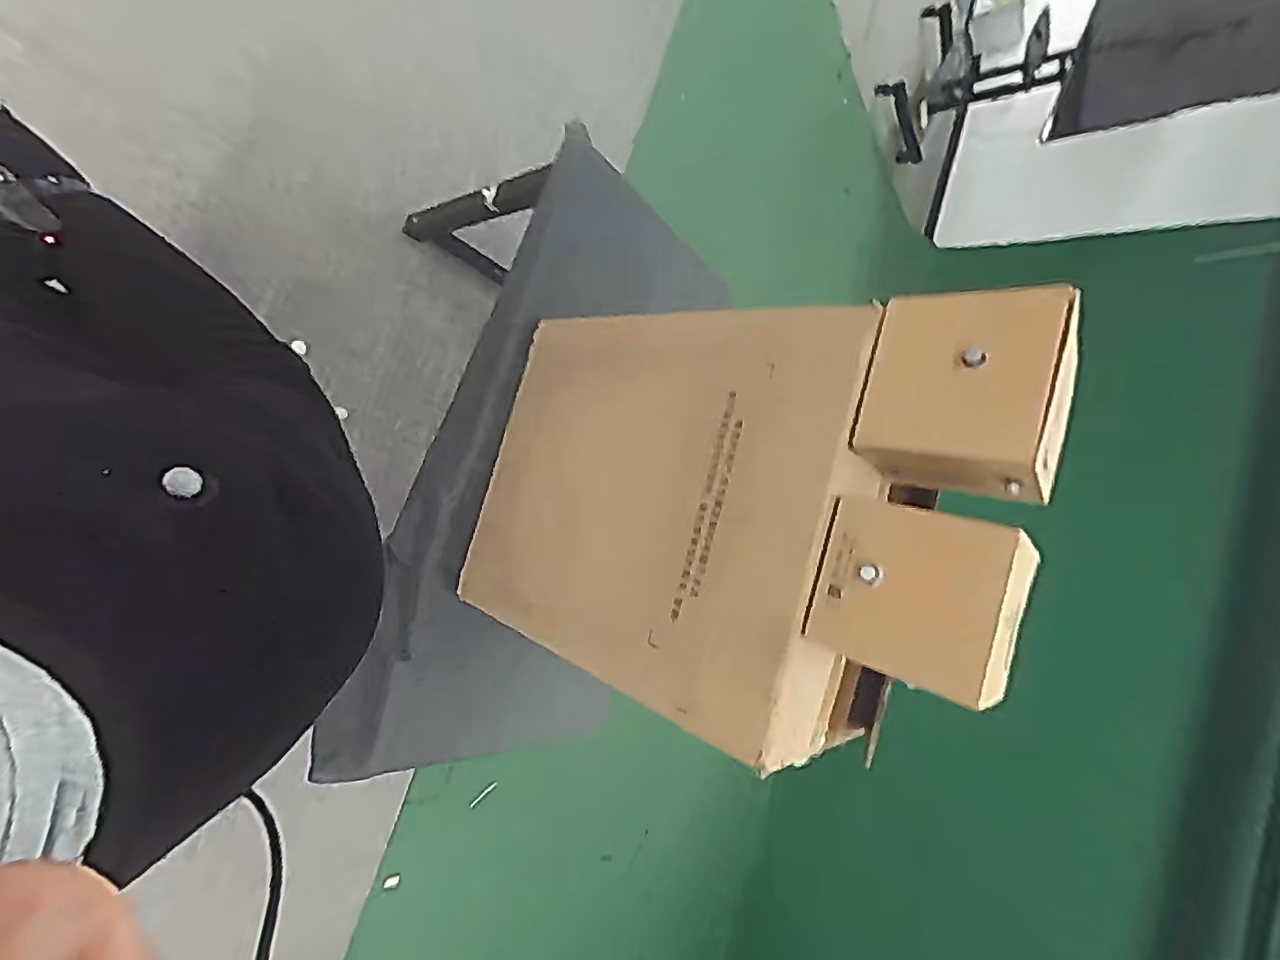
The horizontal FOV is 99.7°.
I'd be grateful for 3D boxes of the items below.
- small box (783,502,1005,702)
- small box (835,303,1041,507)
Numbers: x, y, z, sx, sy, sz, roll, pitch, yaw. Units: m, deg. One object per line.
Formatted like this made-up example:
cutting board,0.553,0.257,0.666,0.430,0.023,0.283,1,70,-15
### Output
small box,0.290,0.131,0.615,0.179,0.176,0.168,21,84,-49
small box,0.343,-0.083,0.625,0.168,0.176,0.179,22,82,-49
